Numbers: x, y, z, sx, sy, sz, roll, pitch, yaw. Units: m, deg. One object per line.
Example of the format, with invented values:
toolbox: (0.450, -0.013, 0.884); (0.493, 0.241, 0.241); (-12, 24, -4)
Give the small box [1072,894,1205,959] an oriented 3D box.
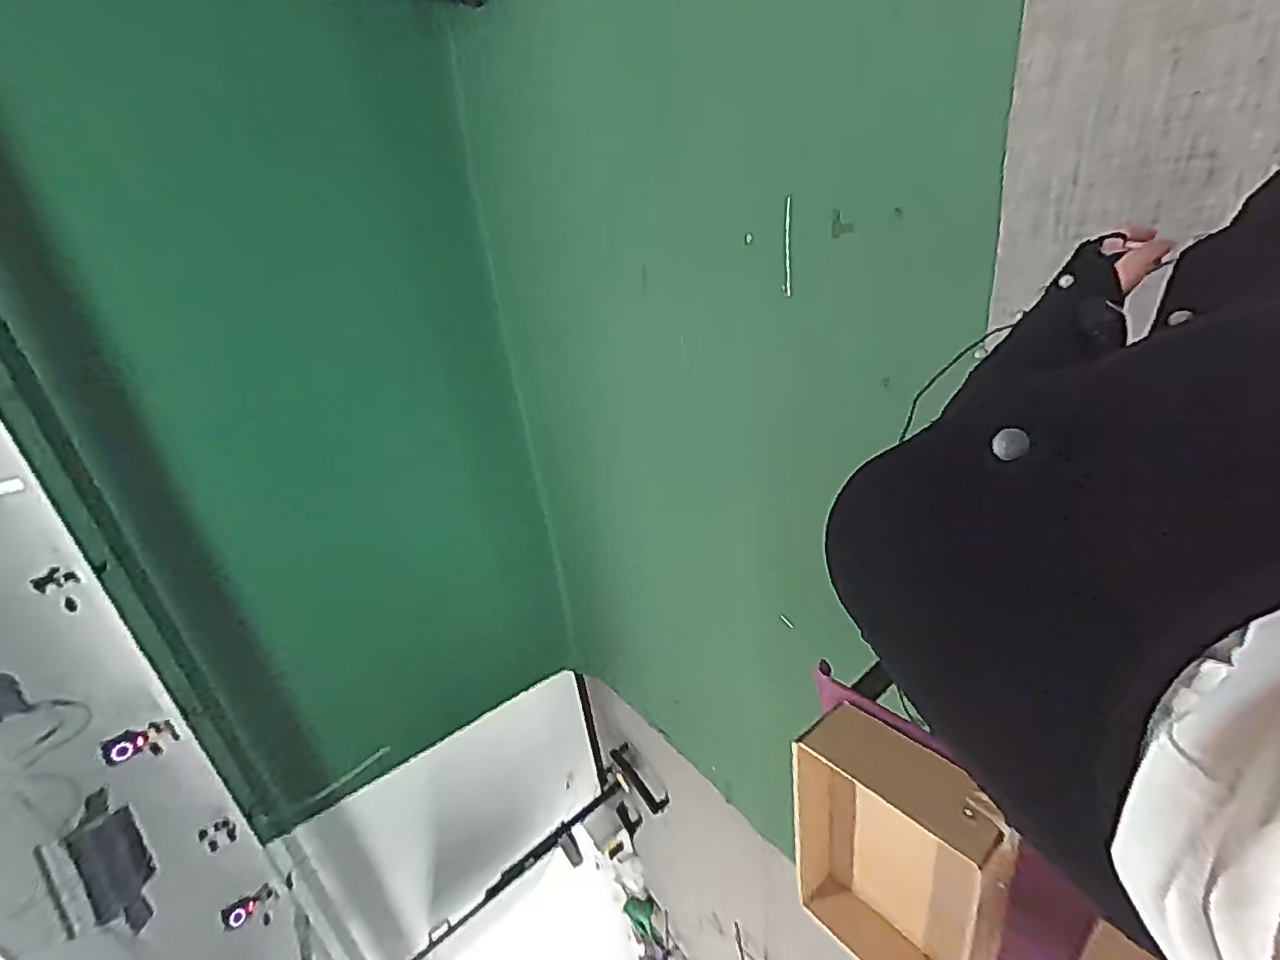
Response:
small box: (0.825, 0.851, 0.895); (0.168, 0.176, 0.179); (23, 128, 49)
